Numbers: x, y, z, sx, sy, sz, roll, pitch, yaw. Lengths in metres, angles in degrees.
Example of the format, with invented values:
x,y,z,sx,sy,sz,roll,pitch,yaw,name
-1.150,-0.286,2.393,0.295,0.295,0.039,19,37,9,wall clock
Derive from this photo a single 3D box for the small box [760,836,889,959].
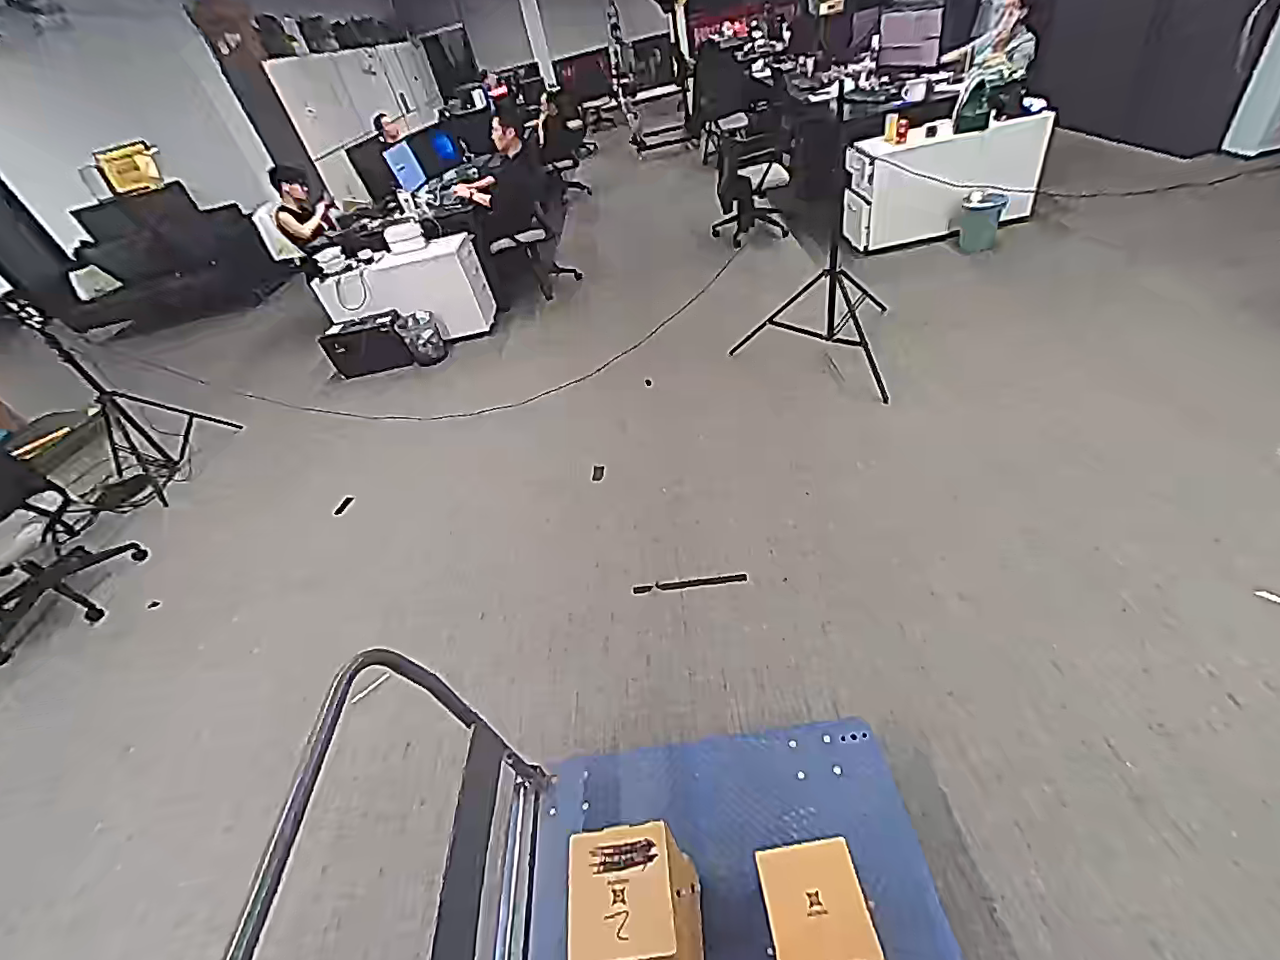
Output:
x,y,z,sx,sy,sz,roll,pitch,yaw,name
0.318,0.772,0.964,0.168,0.176,0.179,-13,40,3,small box

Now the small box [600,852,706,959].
x,y,z,sx,sy,sz,roll,pitch,yaw,name
0.029,0.817,0.999,0.168,0.176,0.179,-9,41,8,small box
